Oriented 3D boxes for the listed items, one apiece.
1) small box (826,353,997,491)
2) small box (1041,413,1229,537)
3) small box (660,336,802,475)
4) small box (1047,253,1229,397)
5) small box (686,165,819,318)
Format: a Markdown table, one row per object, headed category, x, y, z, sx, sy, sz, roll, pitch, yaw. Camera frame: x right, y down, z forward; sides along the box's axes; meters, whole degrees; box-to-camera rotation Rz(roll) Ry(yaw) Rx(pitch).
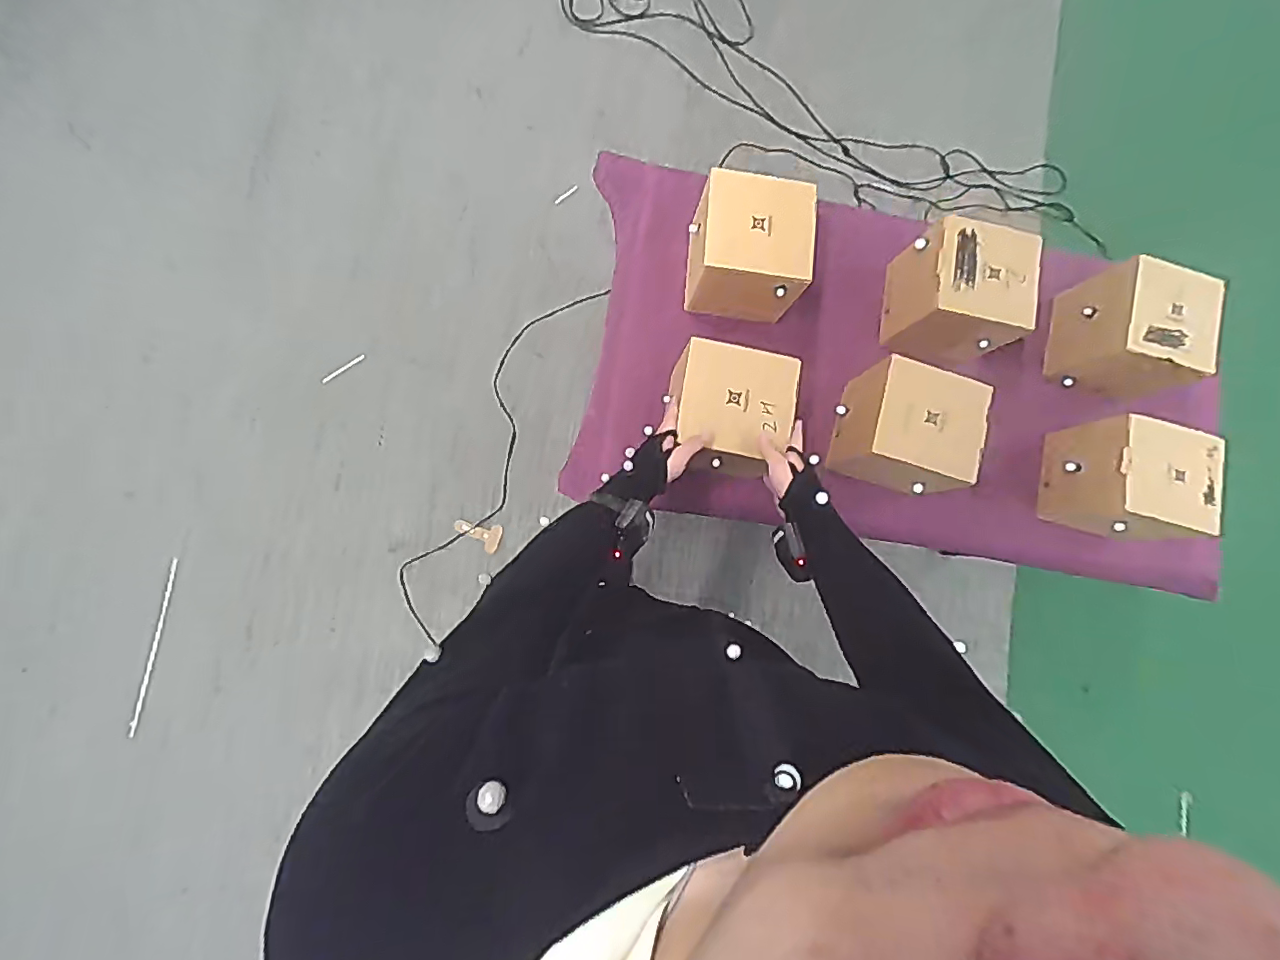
| category | x | y | z | sx | sy | sz | roll | pitch | yaw |
| --- | --- | --- | --- | --- | --- | --- | --- | --- | --- |
| small box | 0.443 | -0.084 | 0.903 | 0.179 | 0.176 | 0.168 | 18 | 81 | -3 |
| small box | 0.842 | 0.002 | 0.935 | 0.179 | 0.176 | 0.168 | 15 | 81 | -4 |
| small box | 0.136 | -0.108 | 0.868 | 0.179 | 0.176 | 0.168 | 11 | 82 | -5 |
| small box | 0.880 | -0.265 | 0.970 | 0.168 | 0.176 | 0.179 | 16 | 82 | -4 |
| small box | 0.179 | -0.387 | 0.908 | 0.179 | 0.176 | 0.168 | 6 | 83 | -6 |
